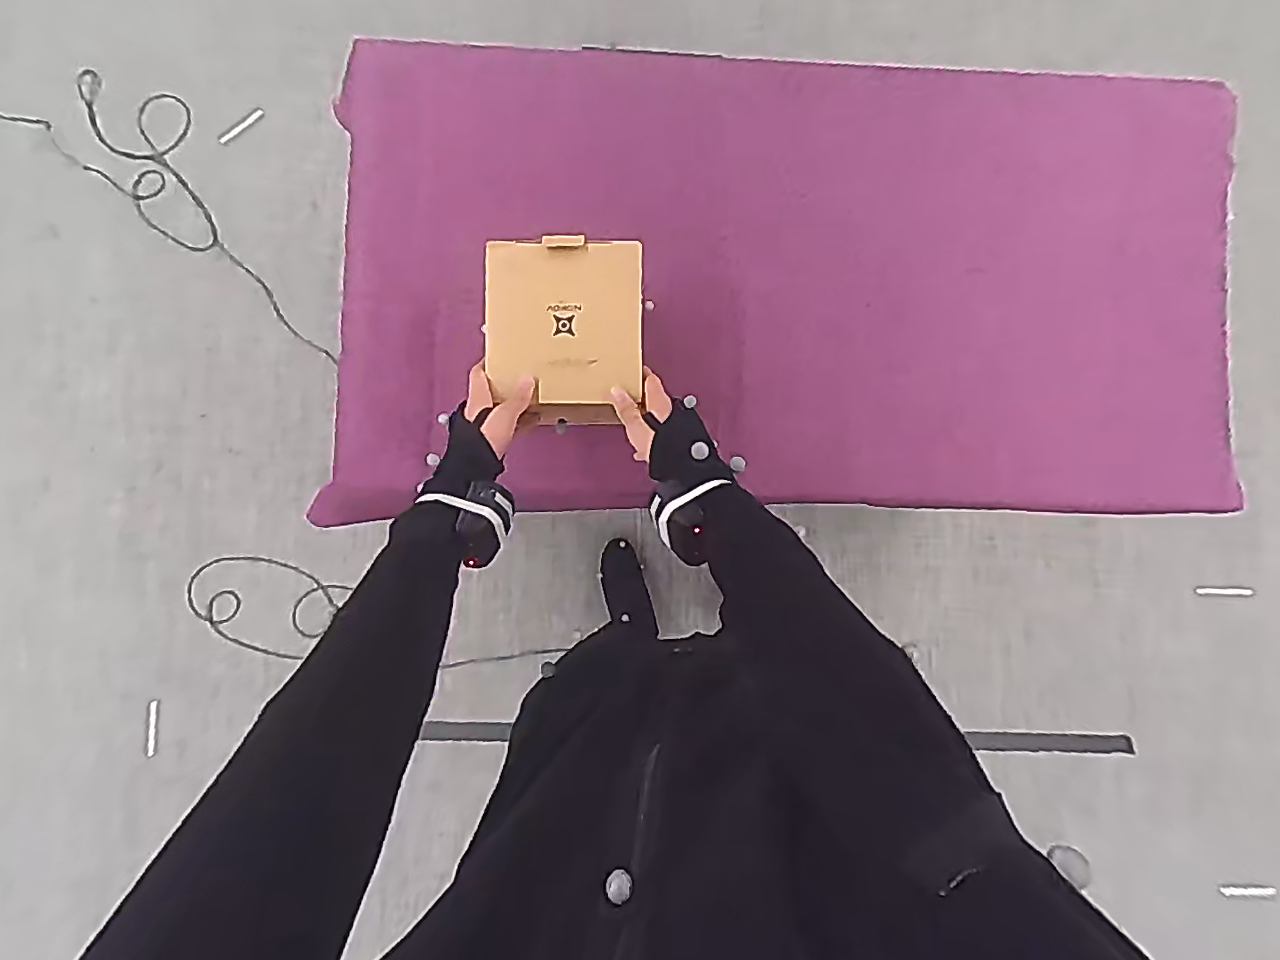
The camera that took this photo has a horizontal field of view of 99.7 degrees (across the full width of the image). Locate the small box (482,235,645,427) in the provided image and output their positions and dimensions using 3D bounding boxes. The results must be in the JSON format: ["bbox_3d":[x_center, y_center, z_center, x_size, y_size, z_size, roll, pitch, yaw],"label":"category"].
[{"bbox_3d":[-0.080,-0.163,0.638,0.168,0.176,0.179,1,88,-1],"label":"small box"}]
